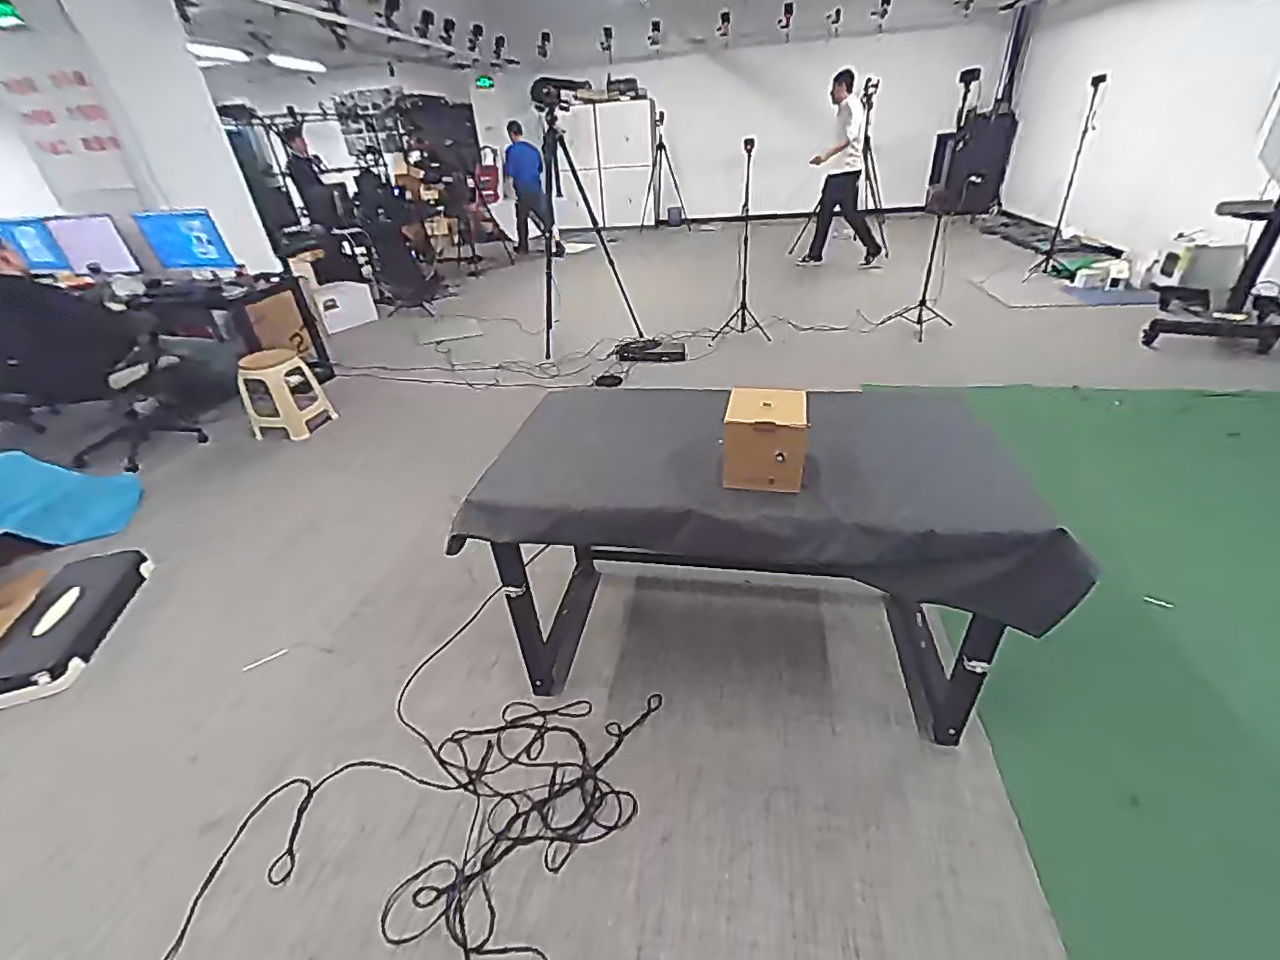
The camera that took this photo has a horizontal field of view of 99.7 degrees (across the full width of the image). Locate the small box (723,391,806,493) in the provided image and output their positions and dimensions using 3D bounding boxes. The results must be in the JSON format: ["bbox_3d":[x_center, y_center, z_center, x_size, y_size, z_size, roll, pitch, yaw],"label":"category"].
[{"bbox_3d":[0.276,-0.085,1.198,0.168,0.176,0.179,5,32,13],"label":"small box"}]
